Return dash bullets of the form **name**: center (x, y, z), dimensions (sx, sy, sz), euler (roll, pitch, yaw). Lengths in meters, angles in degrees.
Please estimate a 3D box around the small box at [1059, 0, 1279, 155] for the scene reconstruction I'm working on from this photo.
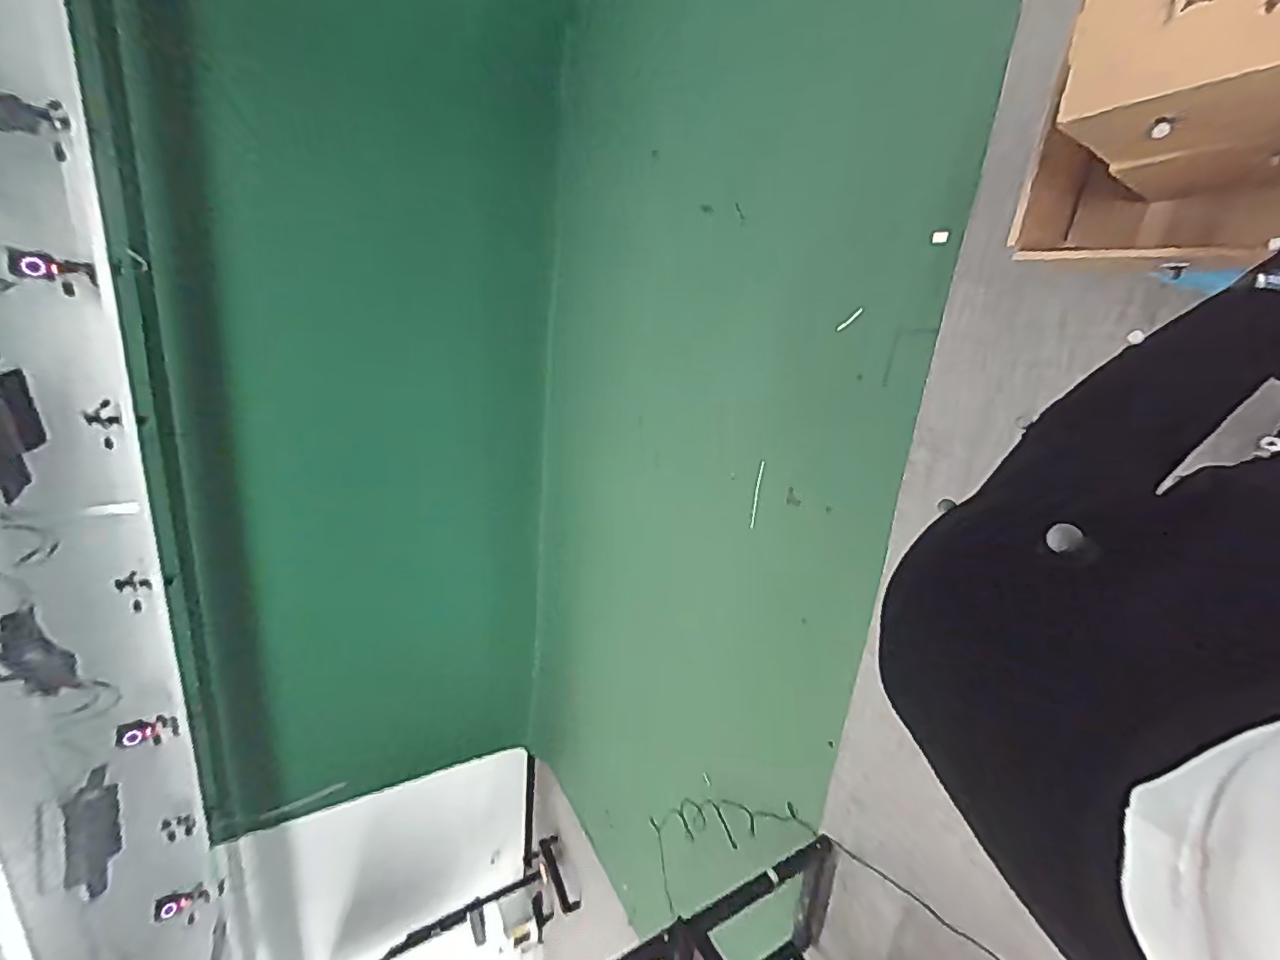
- **small box**: center (0.569, -0.449, 0.536), dimensions (0.179, 0.176, 0.168), euler (22, 112, 54)
